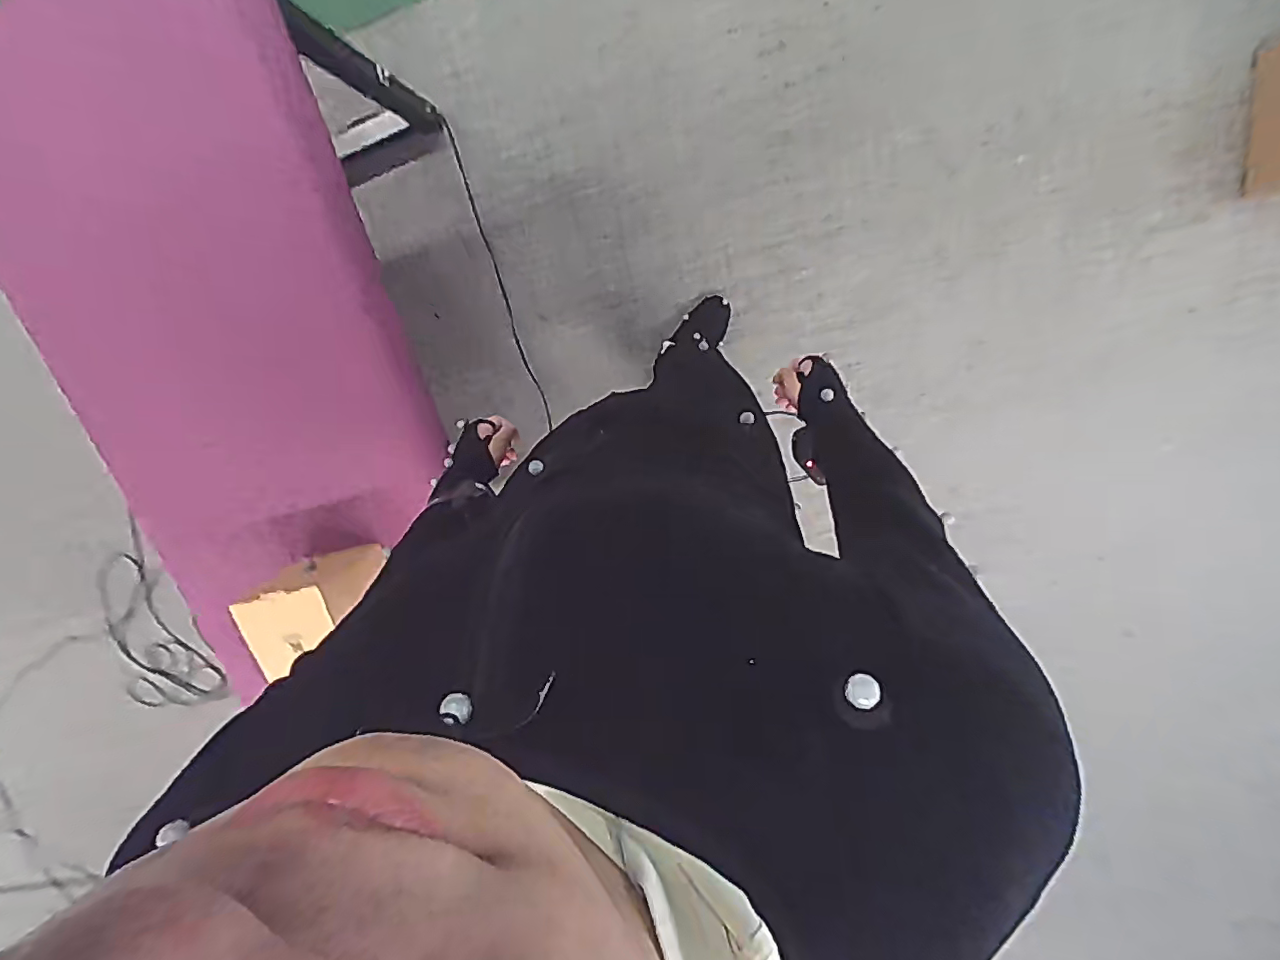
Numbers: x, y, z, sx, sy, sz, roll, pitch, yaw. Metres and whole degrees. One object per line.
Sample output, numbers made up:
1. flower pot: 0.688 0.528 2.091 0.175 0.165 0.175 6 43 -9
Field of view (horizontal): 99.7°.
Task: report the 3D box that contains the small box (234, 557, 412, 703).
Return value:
1. small box: -0.528 0.245 0.926 0.168 0.176 0.179 -13 105 10
